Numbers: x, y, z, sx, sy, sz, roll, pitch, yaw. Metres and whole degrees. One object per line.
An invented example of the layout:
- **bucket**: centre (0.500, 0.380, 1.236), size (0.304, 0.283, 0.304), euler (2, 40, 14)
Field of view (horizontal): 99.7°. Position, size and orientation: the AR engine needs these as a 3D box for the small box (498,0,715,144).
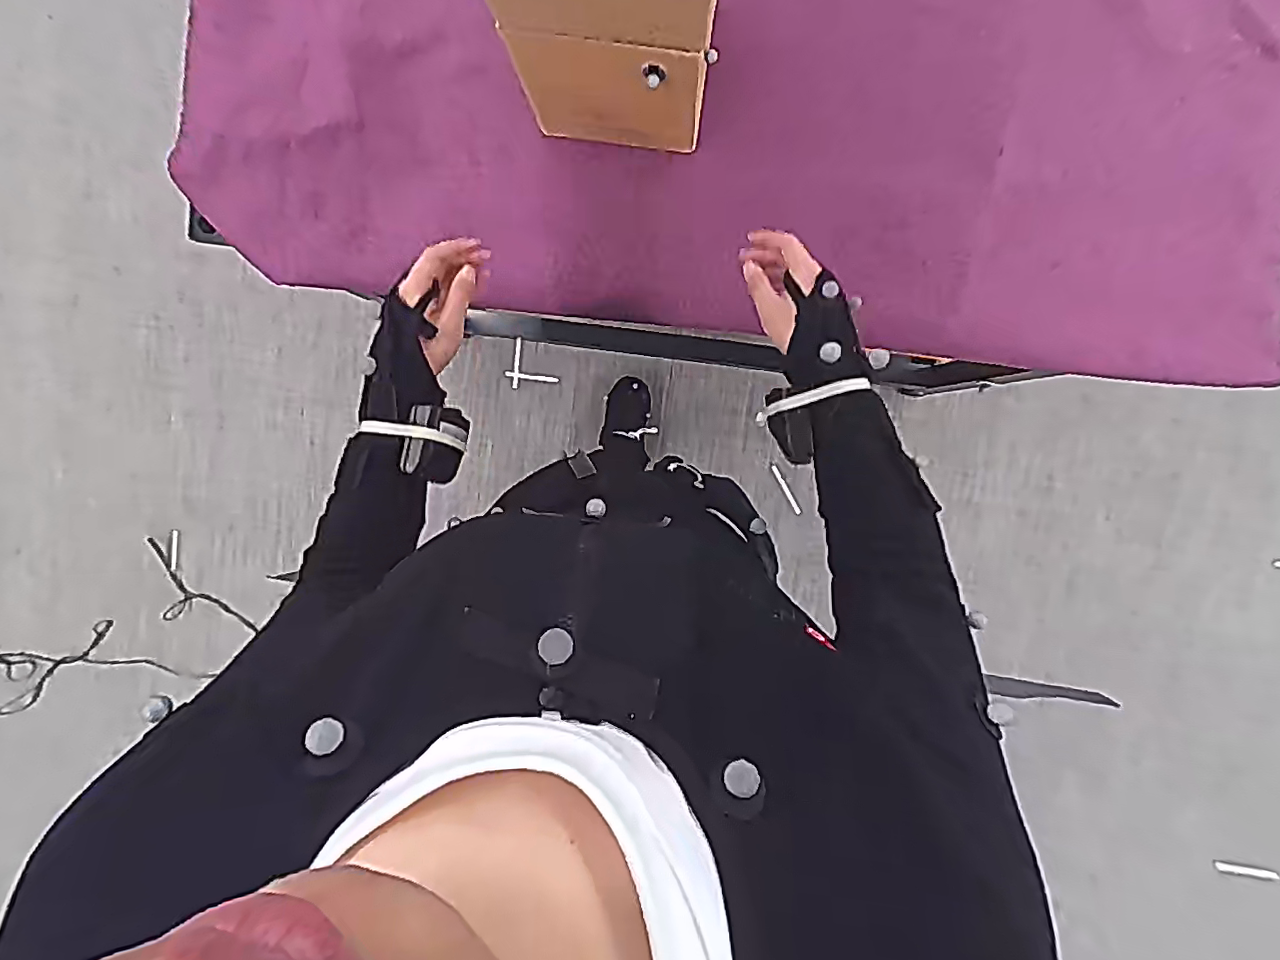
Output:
- **small box**: centre (-0.019, -0.457, 0.521), size (0.179, 0.176, 0.168), euler (8, 95, 1)
